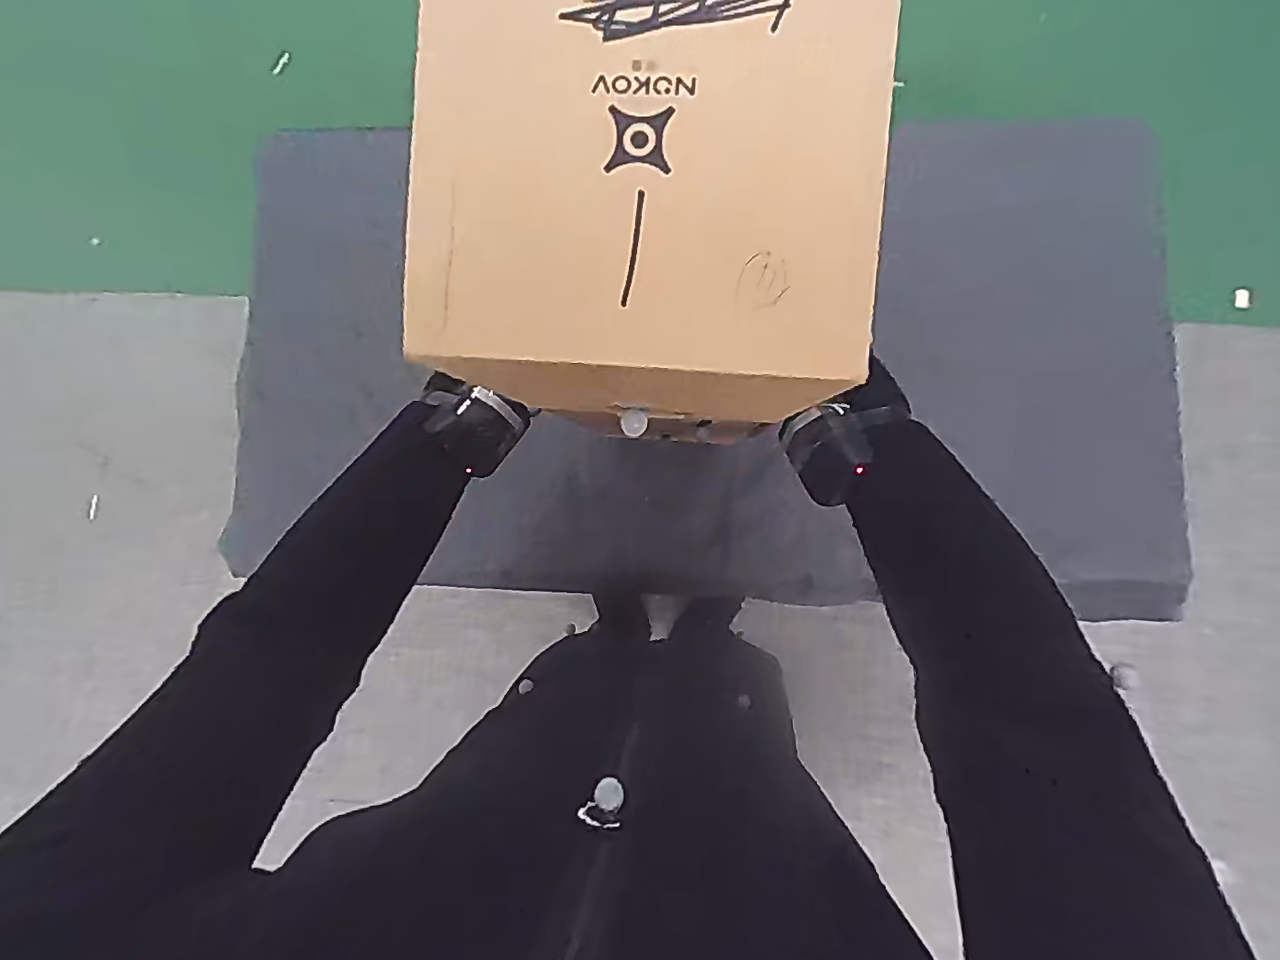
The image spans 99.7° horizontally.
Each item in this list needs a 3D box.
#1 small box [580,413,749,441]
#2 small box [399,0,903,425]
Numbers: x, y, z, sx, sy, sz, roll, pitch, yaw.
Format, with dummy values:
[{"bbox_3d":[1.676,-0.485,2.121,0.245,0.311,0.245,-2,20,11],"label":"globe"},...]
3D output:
[{"bbox_3d":[0.035,-0.134,0.589,0.168,0.176,0.179,3,91,5],"label":"small box"},{"bbox_3d":[0.008,-0.125,0.263,0.168,0.176,0.179,4,92,5],"label":"small box"}]
